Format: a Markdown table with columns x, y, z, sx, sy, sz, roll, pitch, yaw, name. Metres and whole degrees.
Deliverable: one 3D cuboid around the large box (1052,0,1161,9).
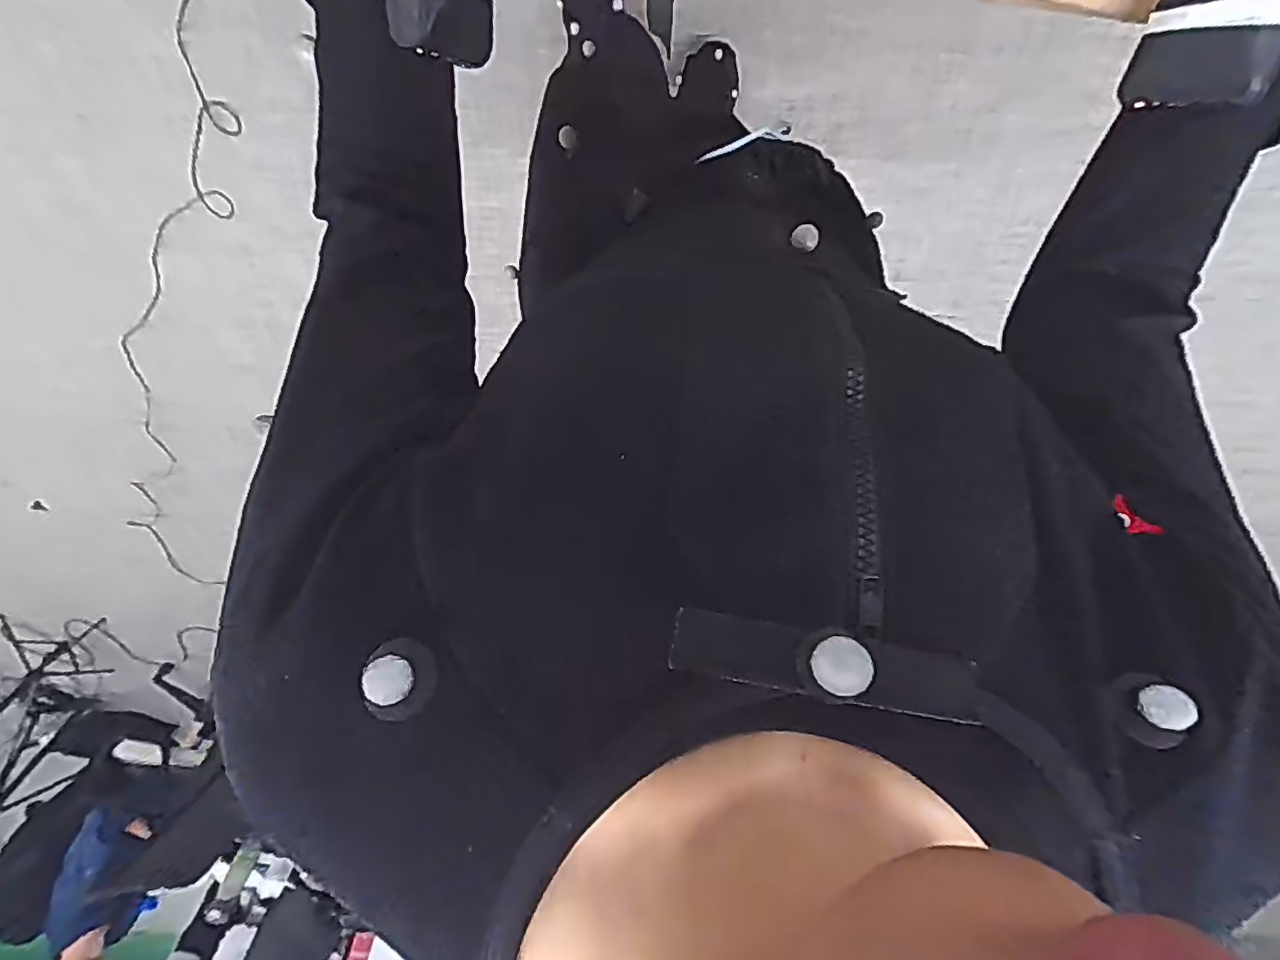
| x | y | z | sx | sy | sz | roll | pitch | yaw | name |
| --- | --- | --- | --- | --- | --- | --- | --- | --- | --- |
| 0.124 | -0.500 | 0.290 | 0.408 | 0.320 | 0.320 | 8 | 135 | -6 | large box |
